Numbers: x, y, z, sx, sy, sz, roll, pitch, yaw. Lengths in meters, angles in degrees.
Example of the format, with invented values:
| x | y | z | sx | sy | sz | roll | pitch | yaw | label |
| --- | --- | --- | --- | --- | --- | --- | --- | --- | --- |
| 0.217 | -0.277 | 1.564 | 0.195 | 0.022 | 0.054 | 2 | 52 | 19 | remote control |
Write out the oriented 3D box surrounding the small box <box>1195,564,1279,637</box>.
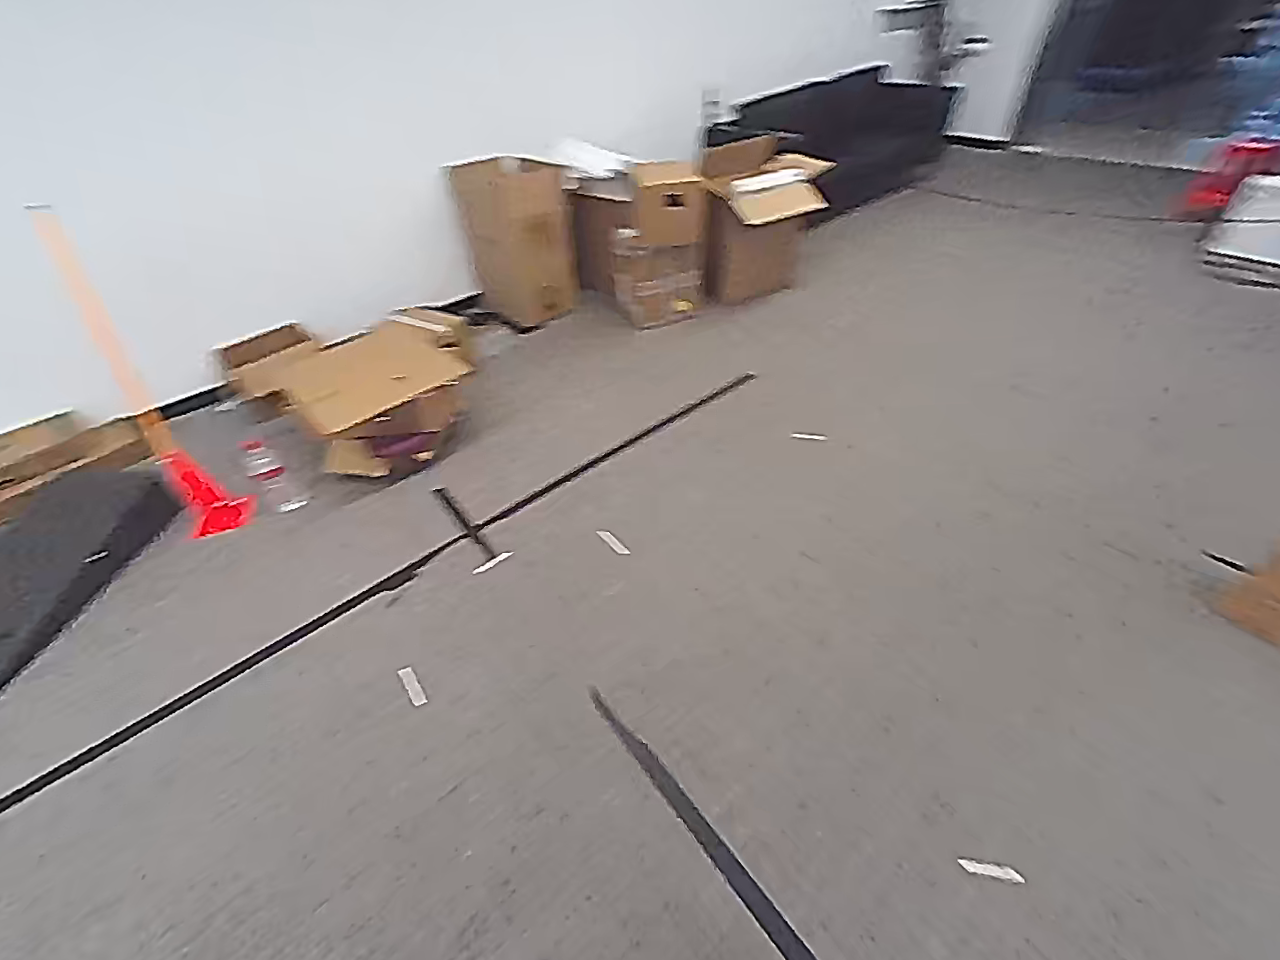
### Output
| x | y | z | sx | sy | sz | roll | pitch | yaw | label |
| --- | --- | --- | --- | --- | --- | --- | --- | --- | --- |
| 1.819 | 0.334 | 1.592 | 0.168 | 0.176 | 0.179 | -26 | 45 | -21 | small box |

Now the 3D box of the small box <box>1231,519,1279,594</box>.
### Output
| x | y | z | sx | sy | sz | roll | pitch | yaw | label |
| --- | --- | --- | --- | --- | --- | --- | --- | --- | --- |
| 1.812 | 0.208 | 1.487 | 0.168 | 0.176 | 0.179 | -24 | 45 | -18 | small box |
